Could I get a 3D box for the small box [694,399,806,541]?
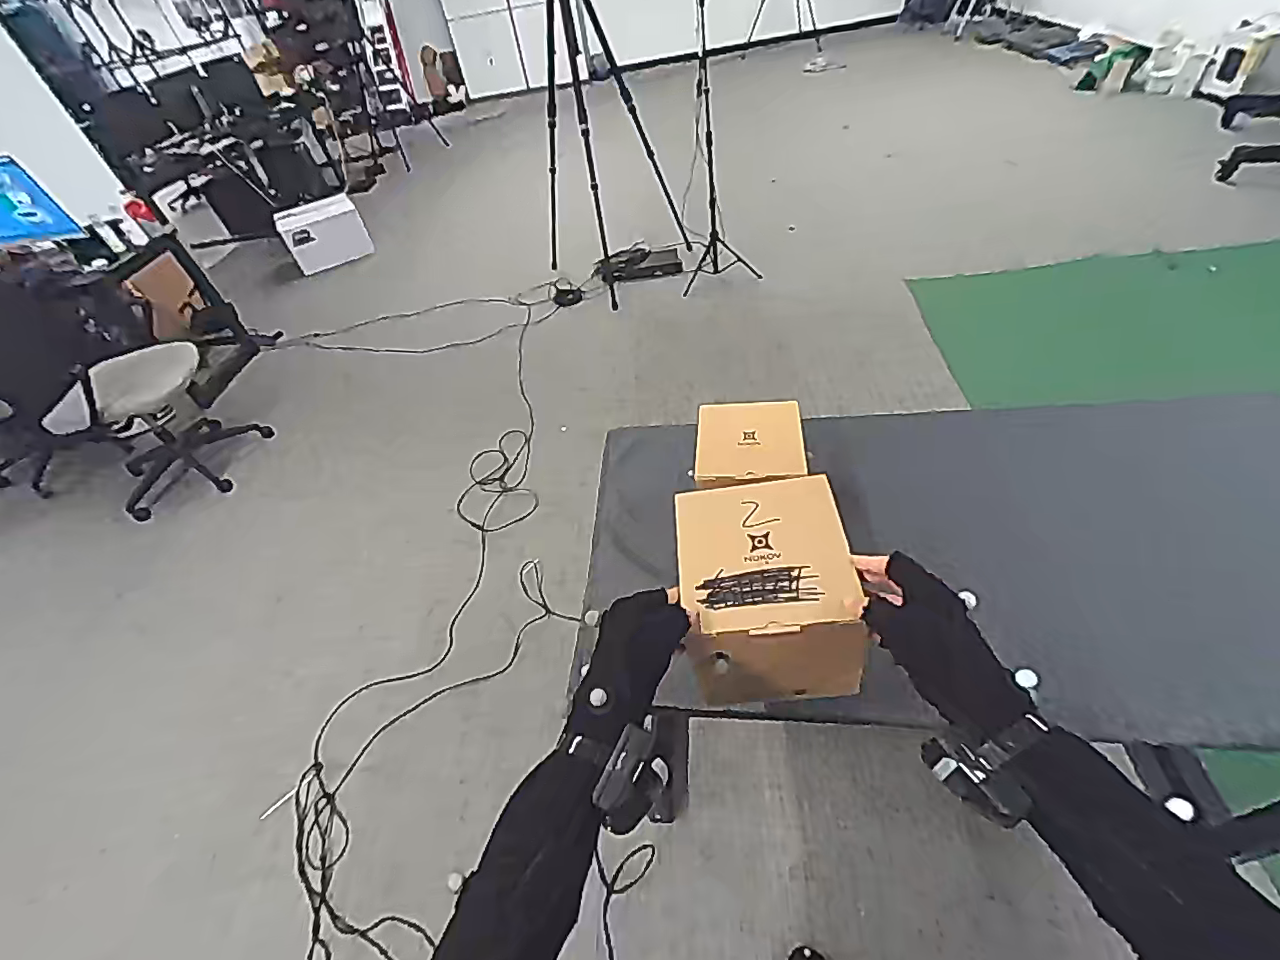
[{"bbox_3d":[0.180,-0.017,0.910,0.168,0.176,0.179,-1,47,10],"label":"small box"}]
